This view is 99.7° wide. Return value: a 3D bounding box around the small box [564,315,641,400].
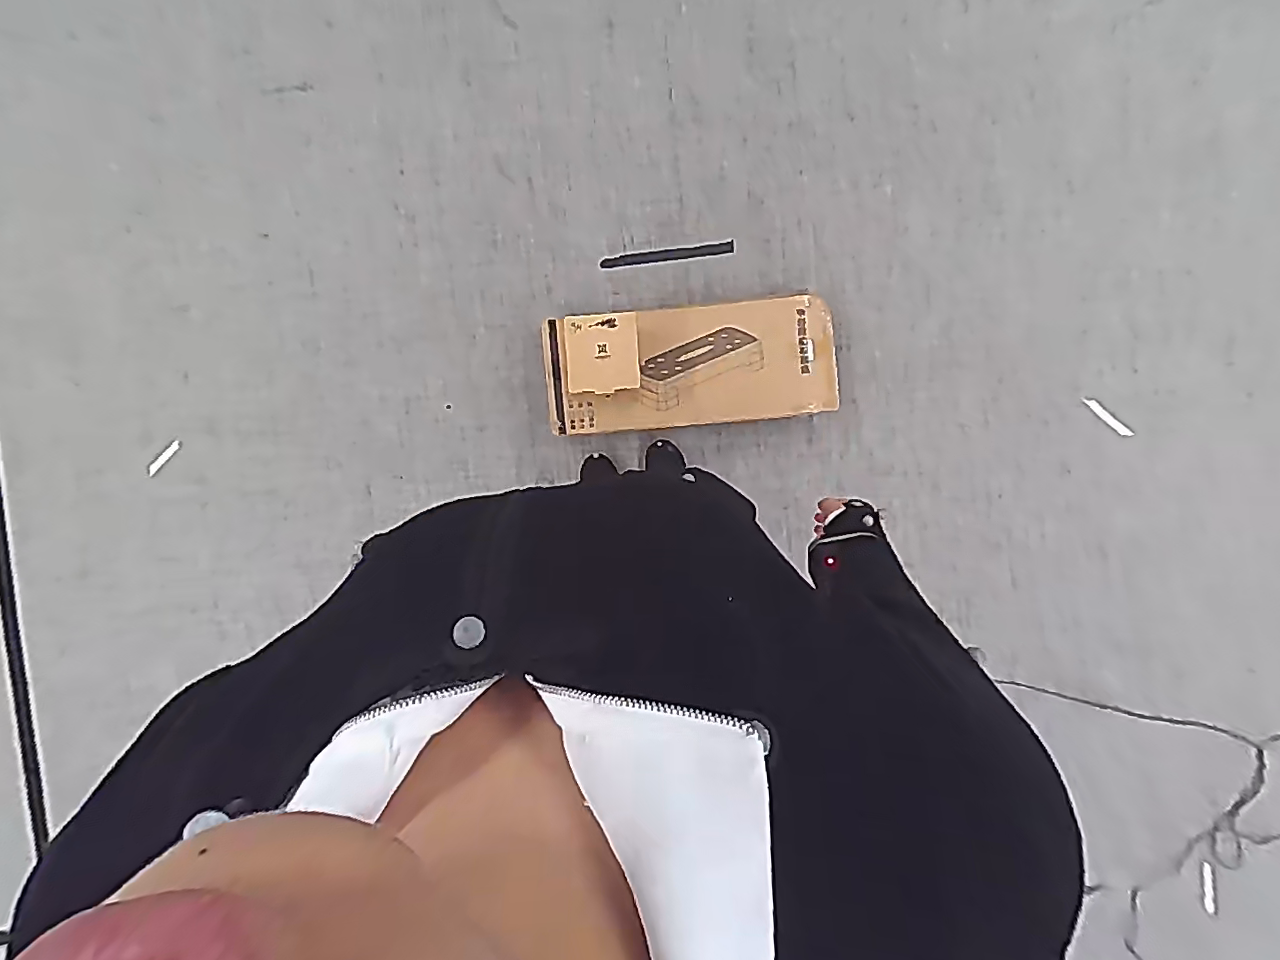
[{"bbox_3d":[-0.085,-0.286,1.300,0.168,0.176,0.179,-3,93,1],"label":"small box"}]
